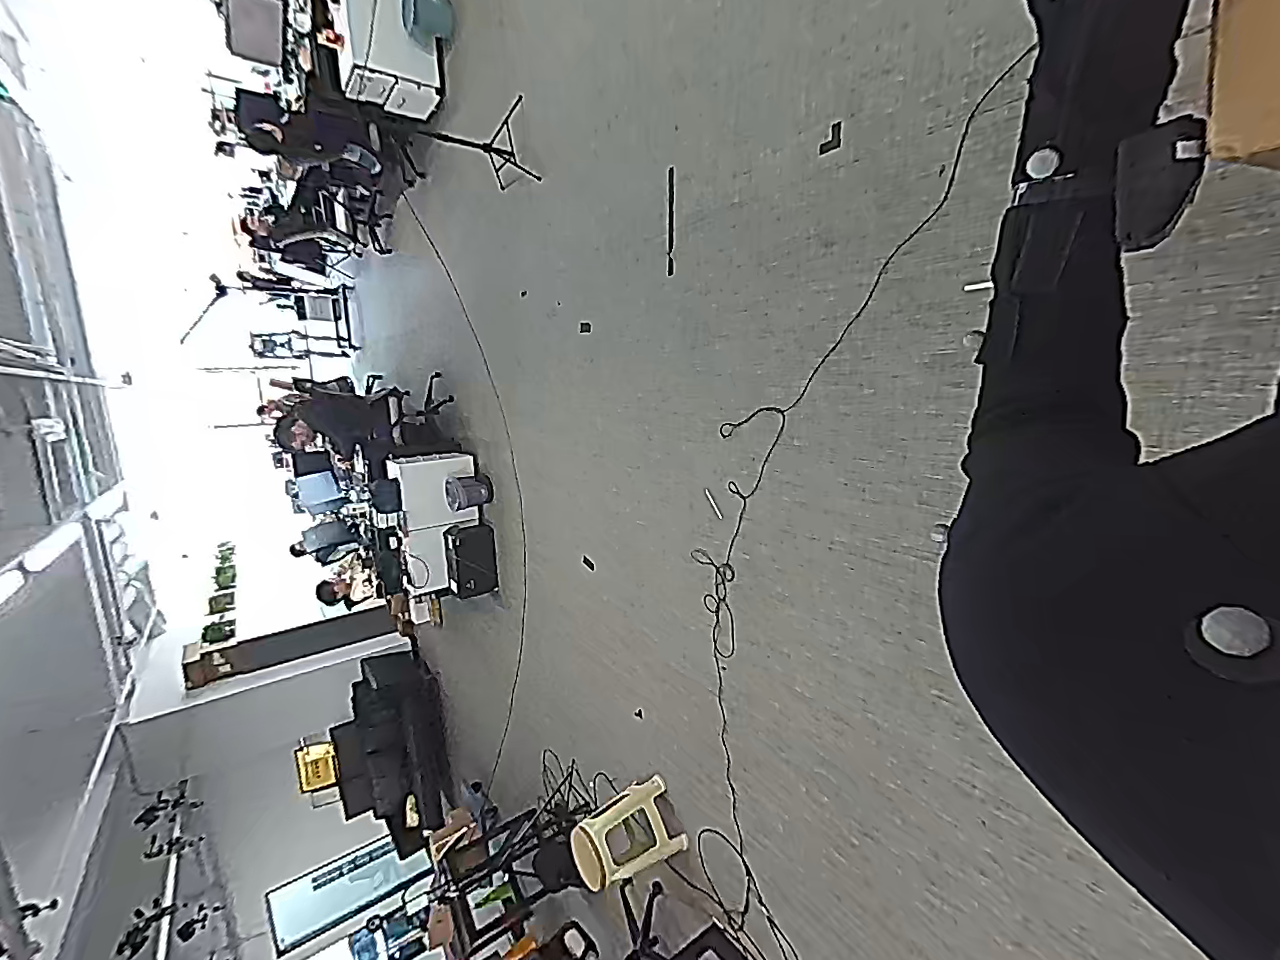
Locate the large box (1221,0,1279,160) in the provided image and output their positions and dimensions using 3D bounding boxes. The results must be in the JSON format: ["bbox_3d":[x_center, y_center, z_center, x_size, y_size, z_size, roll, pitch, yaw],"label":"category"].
[{"bbox_3d":[0.513,-0.355,0.184,0.408,0.320,0.320,7,114,52],"label":"large box"}]
